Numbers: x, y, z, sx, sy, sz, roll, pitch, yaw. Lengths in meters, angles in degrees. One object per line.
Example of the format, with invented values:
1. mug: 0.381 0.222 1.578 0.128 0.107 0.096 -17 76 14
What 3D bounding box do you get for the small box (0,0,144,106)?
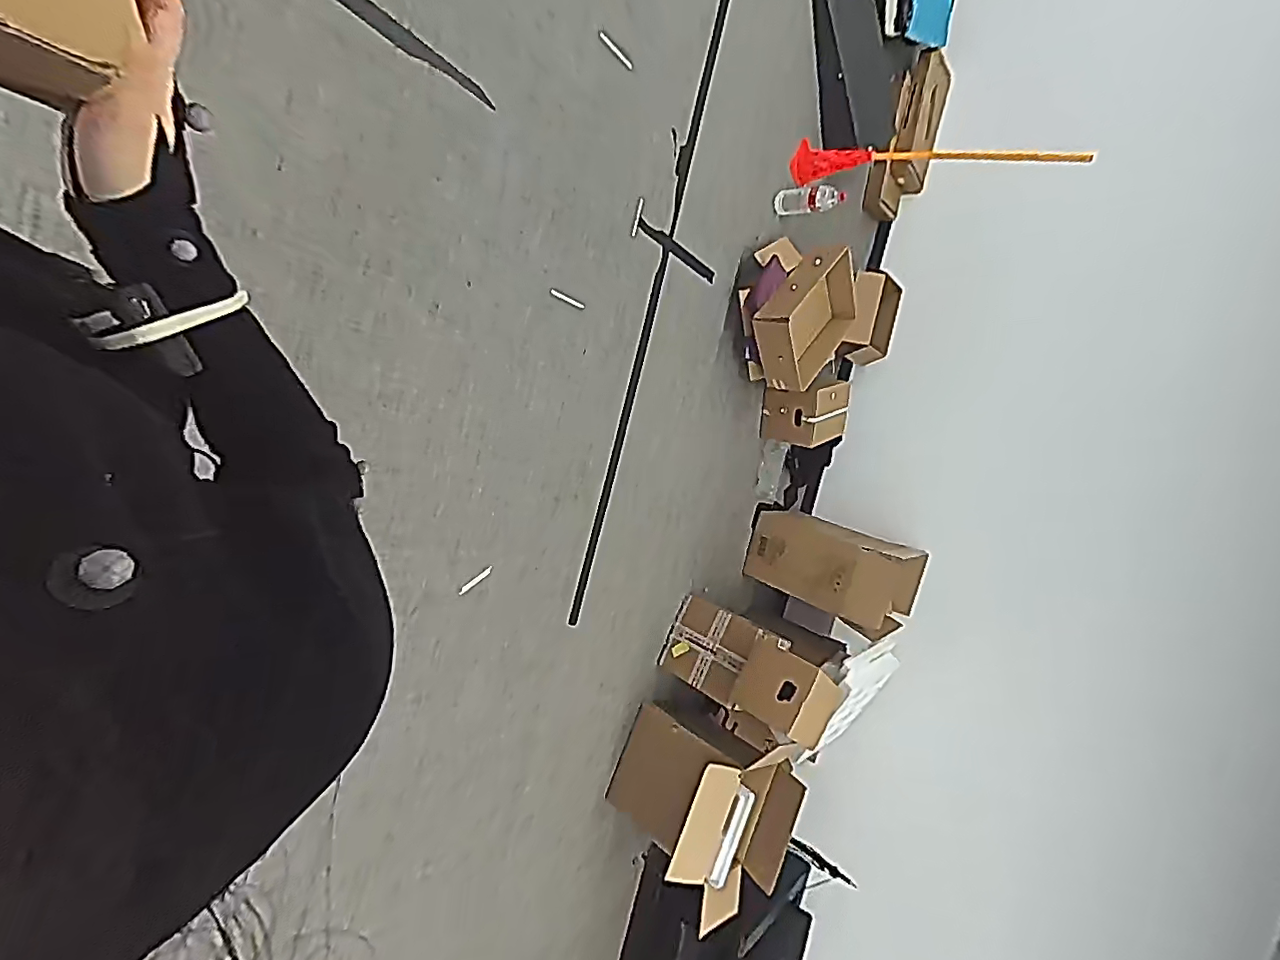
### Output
1. small box: -0.293 -0.272 0.190 0.168 0.176 0.179 4 105 -52
